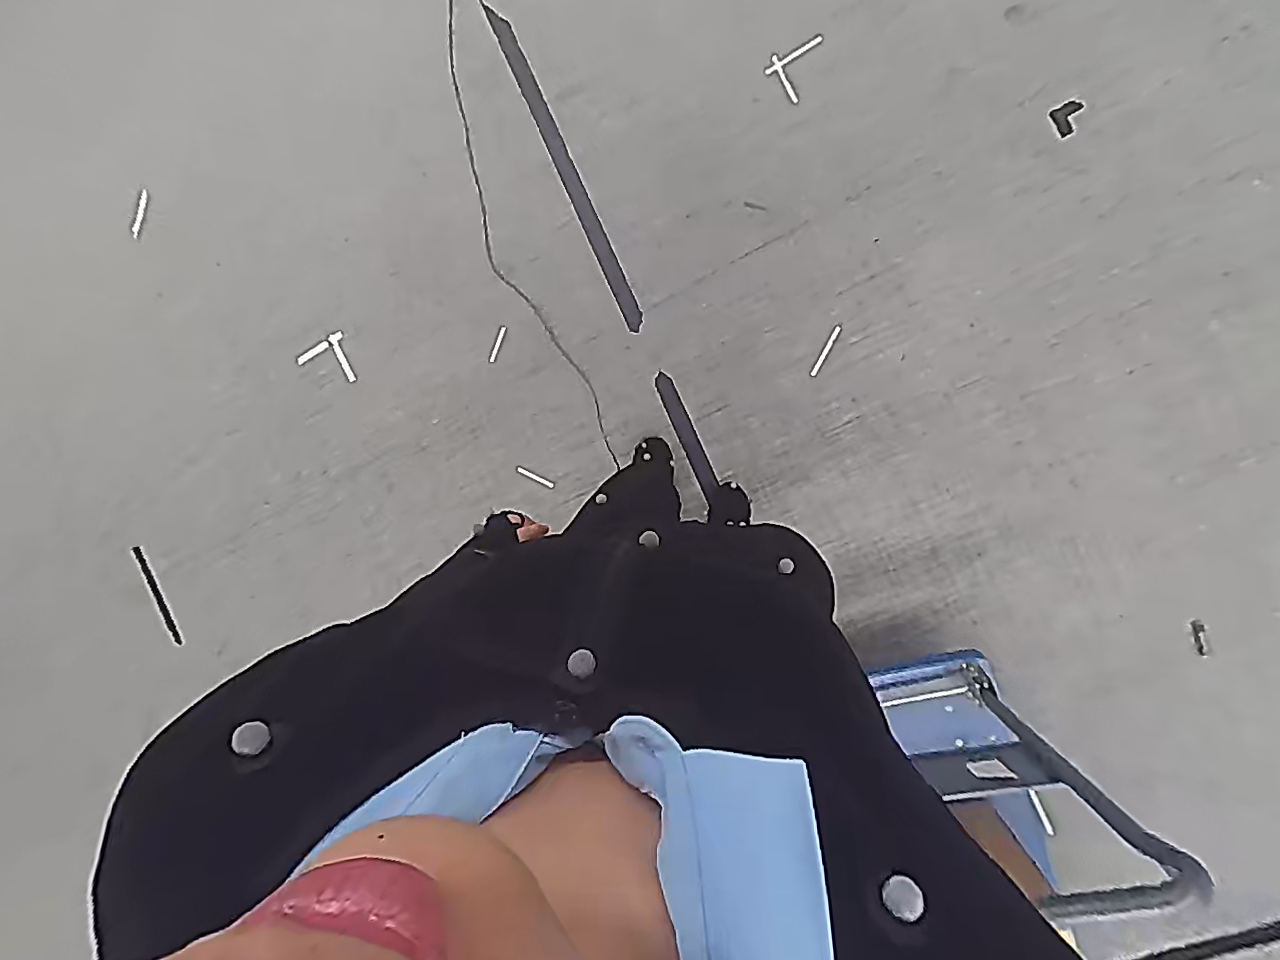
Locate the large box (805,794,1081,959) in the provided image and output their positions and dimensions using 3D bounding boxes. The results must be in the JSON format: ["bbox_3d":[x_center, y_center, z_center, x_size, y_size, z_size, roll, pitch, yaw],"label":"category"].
[{"bbox_3d":[0.587,0.895,1.089,0.408,0.320,0.320,-14,90,10],"label":"large box"}]
